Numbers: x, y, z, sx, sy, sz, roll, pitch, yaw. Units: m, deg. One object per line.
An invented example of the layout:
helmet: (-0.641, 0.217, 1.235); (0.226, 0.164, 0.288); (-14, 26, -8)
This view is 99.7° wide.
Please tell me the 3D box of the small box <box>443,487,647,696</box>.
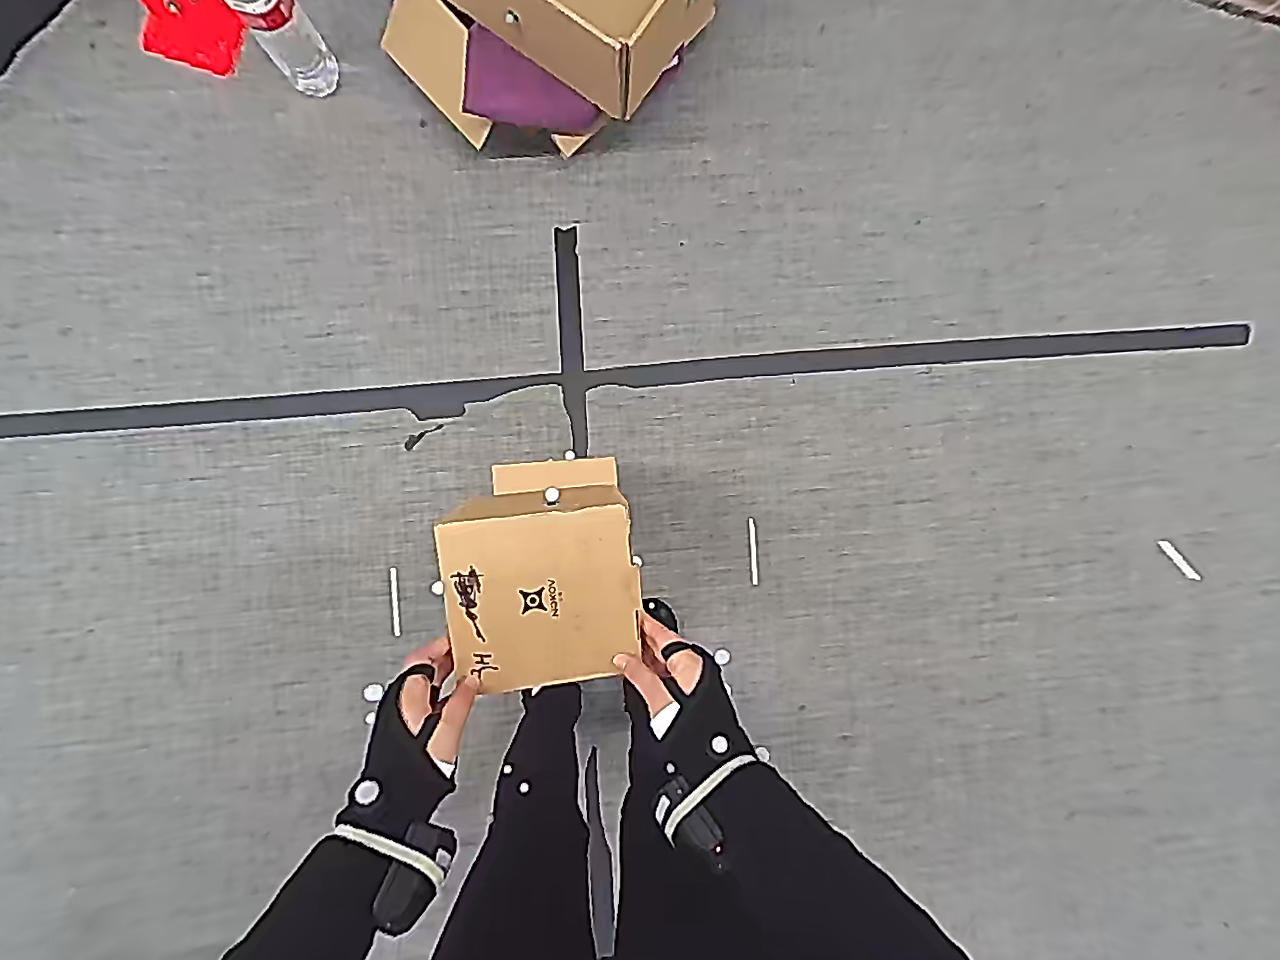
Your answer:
small box: (-0.097, 0.103, 0.579); (0.179, 0.176, 0.168); (-6, 96, -7)

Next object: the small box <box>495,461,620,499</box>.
small box: (-0.111, 0.065, 0.799); (0.168, 0.176, 0.179); (-4, 90, -4)
